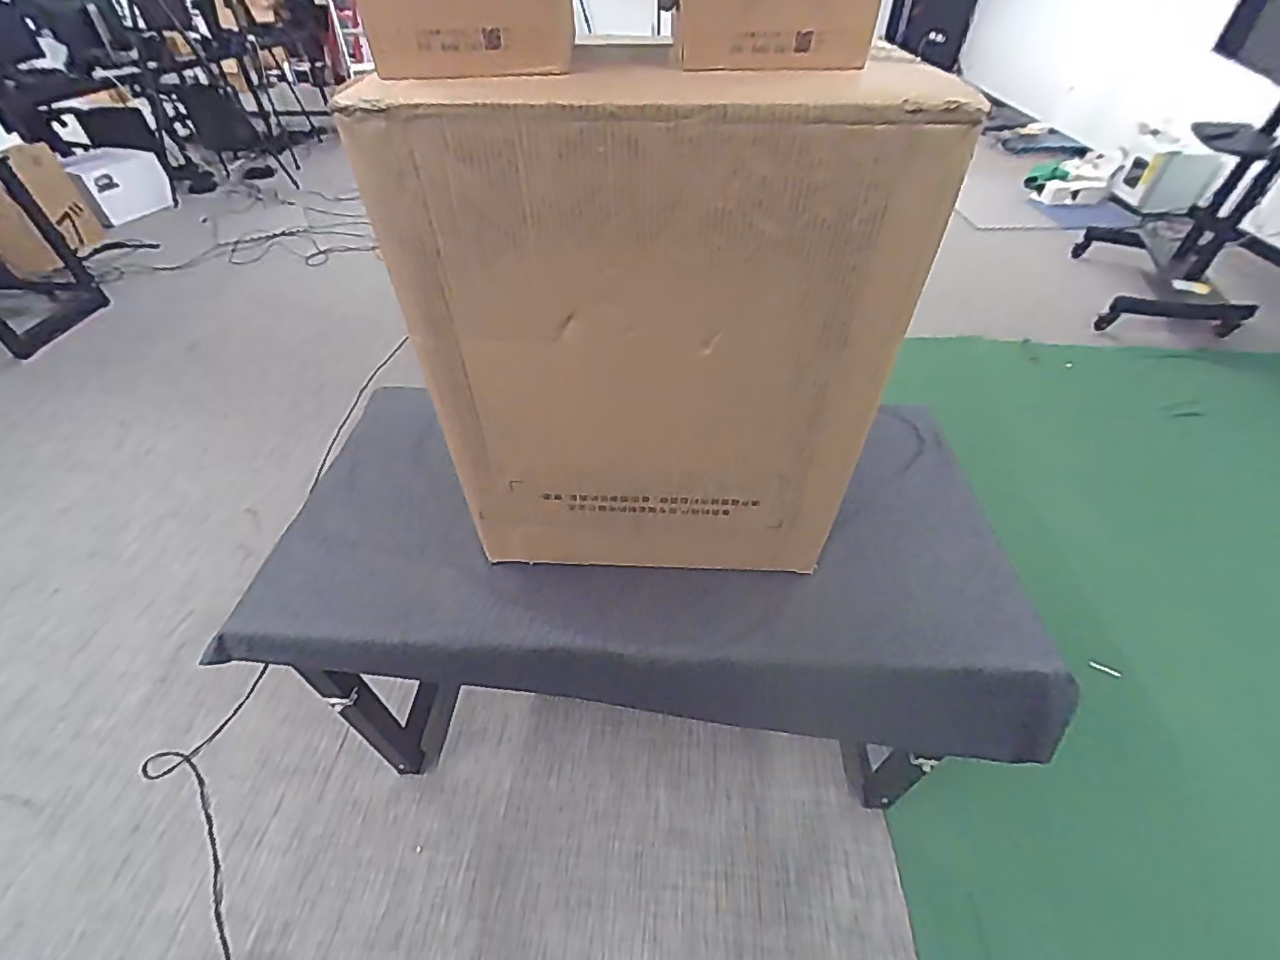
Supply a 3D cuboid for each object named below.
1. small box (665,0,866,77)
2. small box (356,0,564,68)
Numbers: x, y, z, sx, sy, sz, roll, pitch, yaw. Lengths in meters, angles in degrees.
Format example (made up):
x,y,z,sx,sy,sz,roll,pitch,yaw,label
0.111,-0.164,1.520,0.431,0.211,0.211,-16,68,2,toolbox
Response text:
x,y,z,sx,sy,sz,roll,pitch,yaw,label
0.108,-0.478,0.481,0.168,0.176,0.179,-1,48,0,small box
-0.158,-0.471,0.462,0.168,0.176,0.179,-6,49,-4,small box
